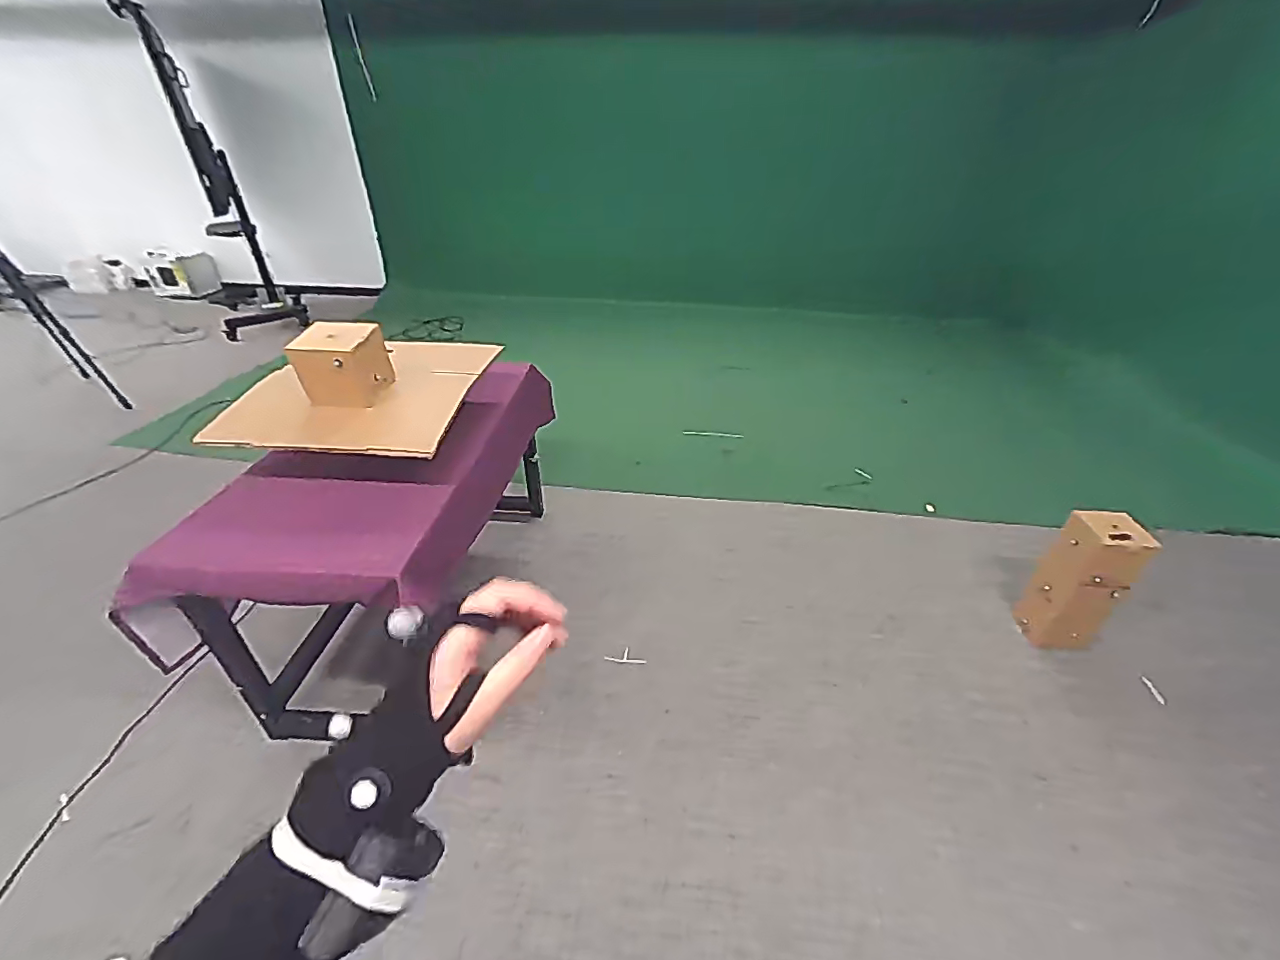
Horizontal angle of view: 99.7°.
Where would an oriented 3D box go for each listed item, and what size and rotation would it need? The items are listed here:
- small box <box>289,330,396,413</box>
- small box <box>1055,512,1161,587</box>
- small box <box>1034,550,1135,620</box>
[{"bbox_3d":[-0.802,-0.296,1.477,0.179,0.176,0.168,3,40,2],"label":"small box"},{"bbox_3d":[1.487,0.224,1.732,0.168,0.176,0.179,3,33,5],"label":"small box"},{"bbox_3d":[1.493,0.357,1.829,0.179,0.176,0.168,1,33,3],"label":"small box"}]
